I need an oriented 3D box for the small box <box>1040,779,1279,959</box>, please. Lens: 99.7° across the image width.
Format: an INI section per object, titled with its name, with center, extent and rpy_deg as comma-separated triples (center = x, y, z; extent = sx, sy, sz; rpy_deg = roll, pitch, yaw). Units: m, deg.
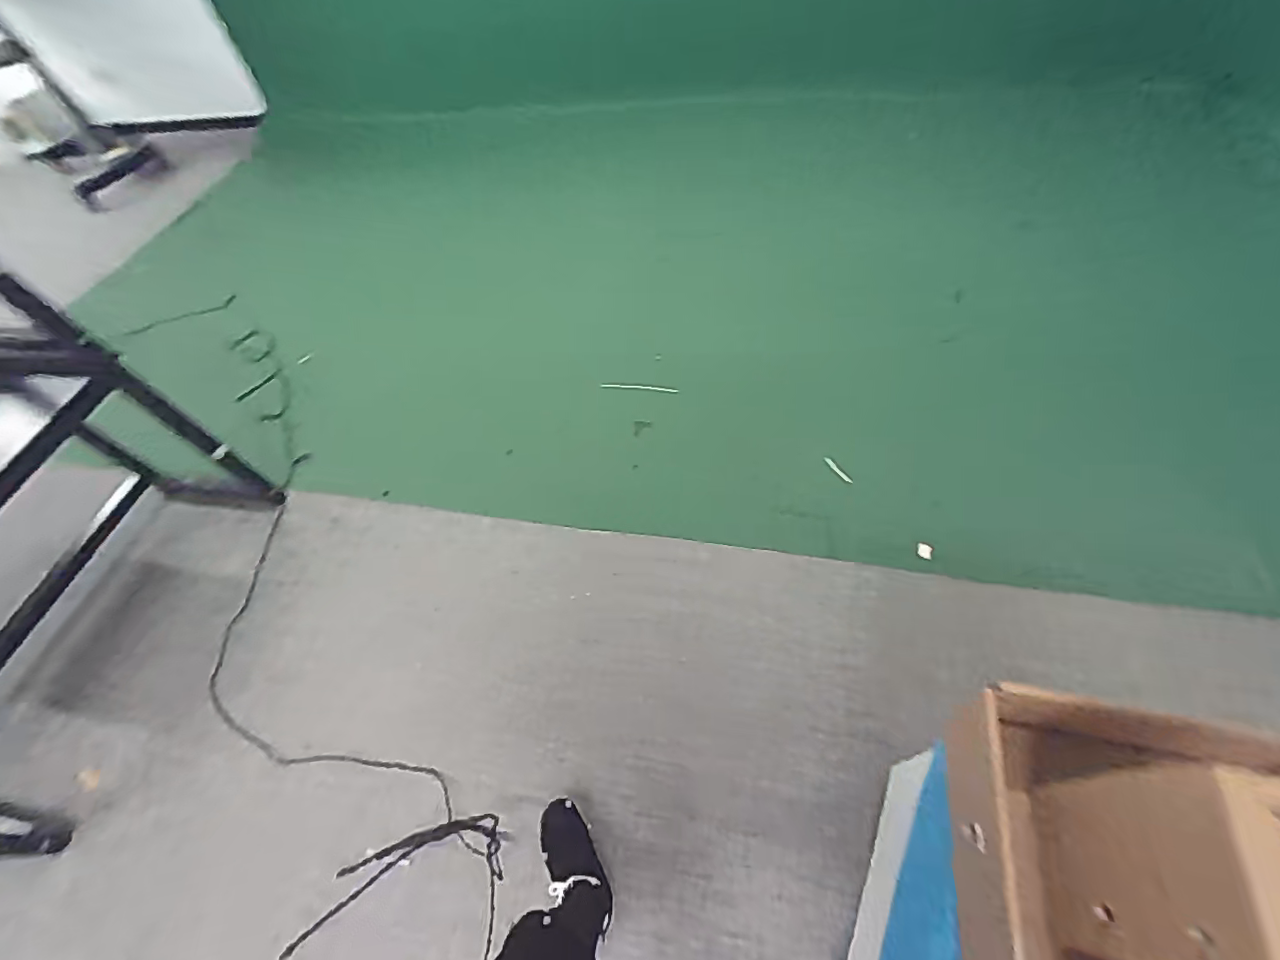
[small box]
center = 0.602, 0.467, 0.627
extent = 0.168, 0.176, 0.179
rpy_deg = 7, 60, 12
